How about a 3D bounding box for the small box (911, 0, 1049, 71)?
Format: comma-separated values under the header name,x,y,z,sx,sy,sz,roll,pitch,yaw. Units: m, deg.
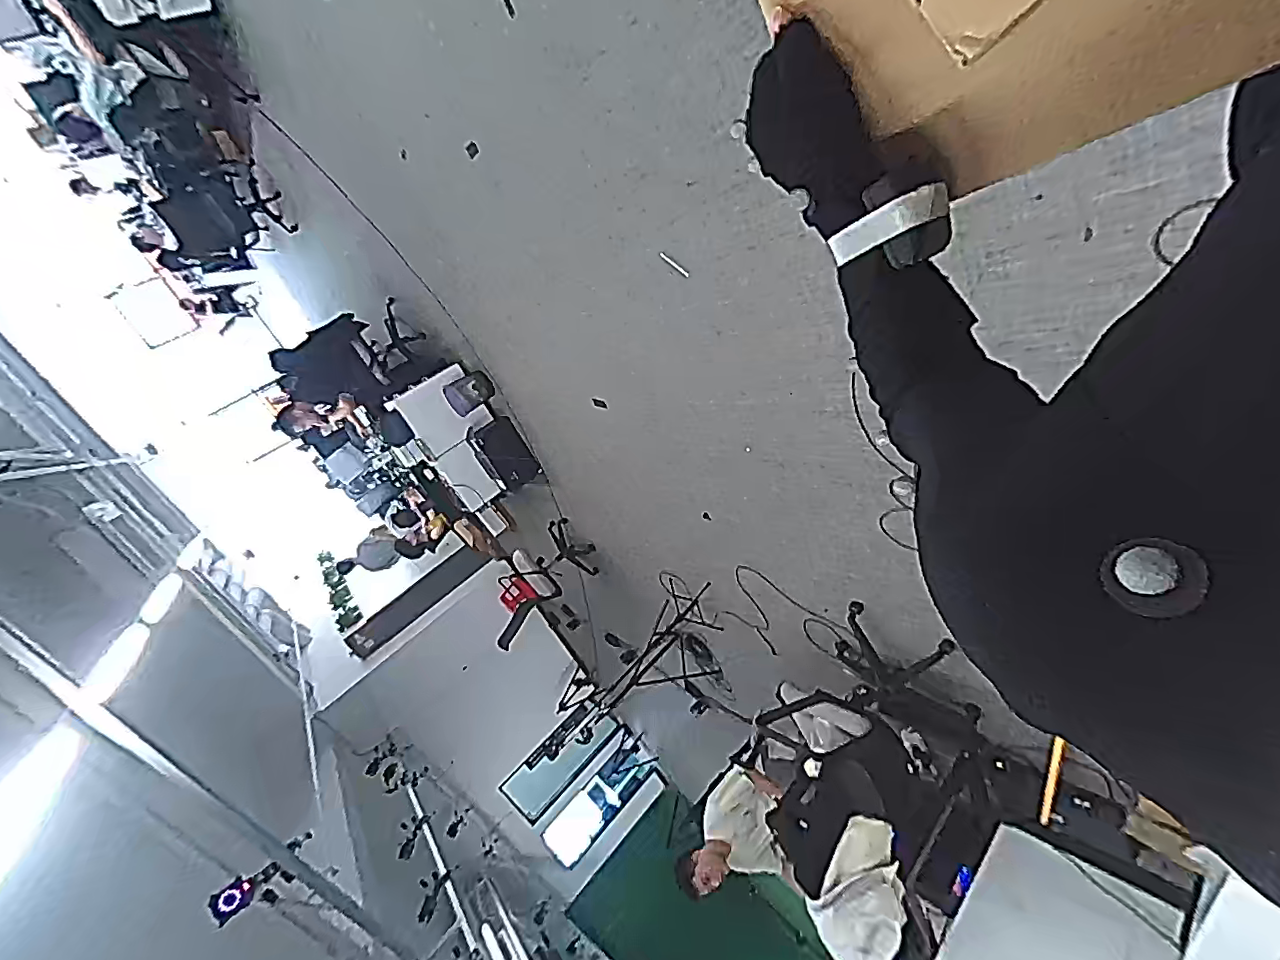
name,x,y,z,sx,sy,sz,roll,pitch,yaw
small box,0.168,-0.303,0.194,0.168,0.176,0.179,48,143,-8
